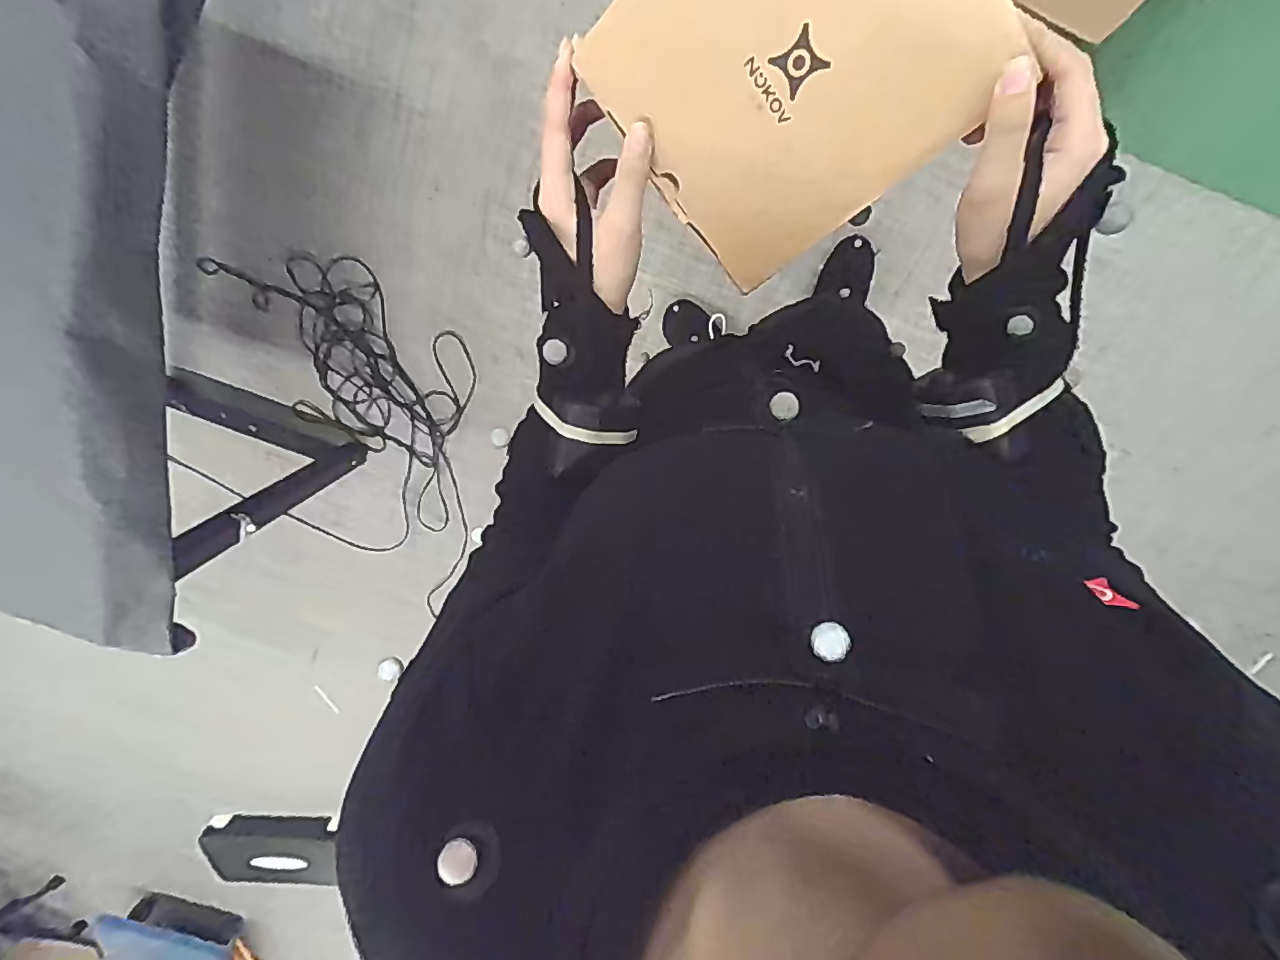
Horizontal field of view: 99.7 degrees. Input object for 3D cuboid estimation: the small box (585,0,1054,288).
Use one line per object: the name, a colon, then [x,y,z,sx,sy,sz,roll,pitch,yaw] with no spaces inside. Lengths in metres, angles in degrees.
small box: [0.098,-0.262,0.330,0.179,0.176,0.168,-30,117,34]
